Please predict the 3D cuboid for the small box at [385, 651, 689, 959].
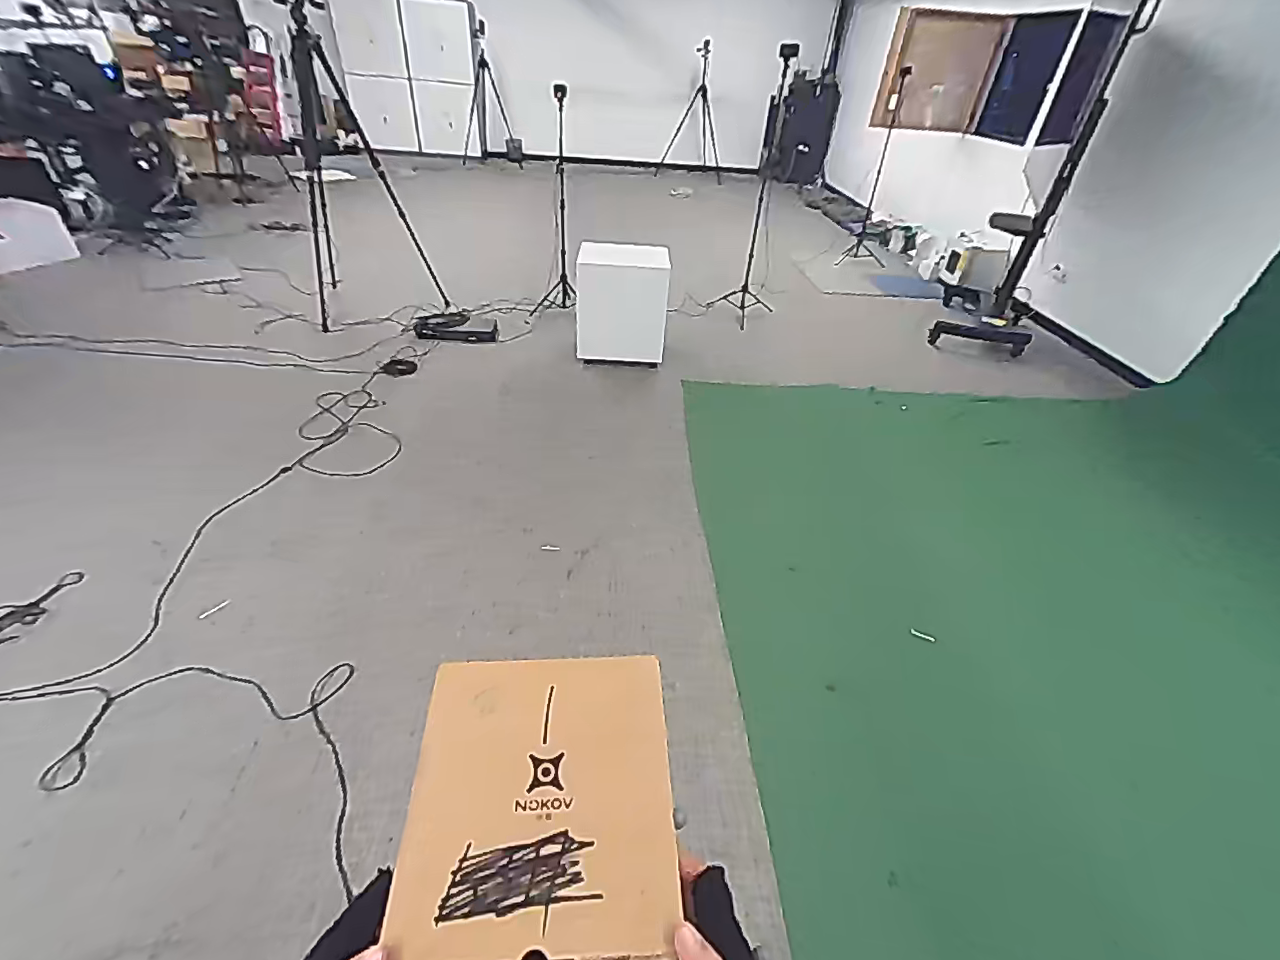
[{"bbox_3d":[-0.060,0.247,0.400,0.168,0.176,0.179,0,44,-5],"label":"small box"}]
